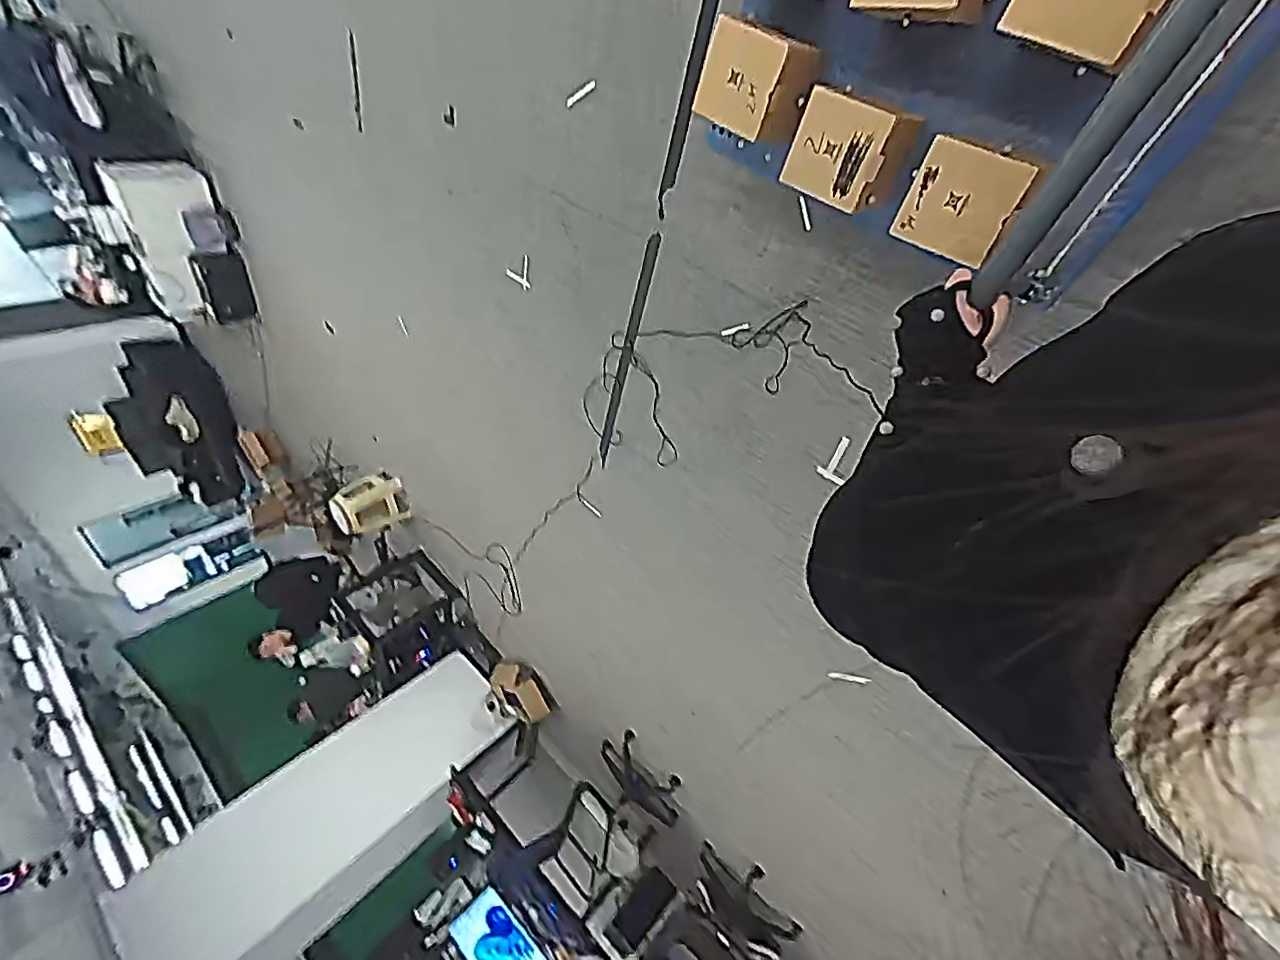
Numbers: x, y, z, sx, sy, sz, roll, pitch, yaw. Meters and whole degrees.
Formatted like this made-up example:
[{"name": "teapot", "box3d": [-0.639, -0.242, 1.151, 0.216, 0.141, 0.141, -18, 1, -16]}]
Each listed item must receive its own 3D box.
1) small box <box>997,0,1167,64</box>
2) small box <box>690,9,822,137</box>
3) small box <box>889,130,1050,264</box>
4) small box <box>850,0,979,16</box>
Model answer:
[{"name": "small box", "box3d": [0.665, -0.723, 0.774, 0.179, 0.176, 0.168, 40, 136, 20]}, {"name": "small box", "box3d": [0.240, -0.833, 1.120, 0.179, 0.176, 0.168, 40, 137, 18]}, {"name": "small box", "box3d": [0.594, -0.513, 0.973, 0.179, 0.176, 0.168, 37, 134, 22]}, {"name": "small box", "box3d": [0.474, -0.867, 0.870, 0.179, 0.176, 0.168, 30, 133, 29]}]
